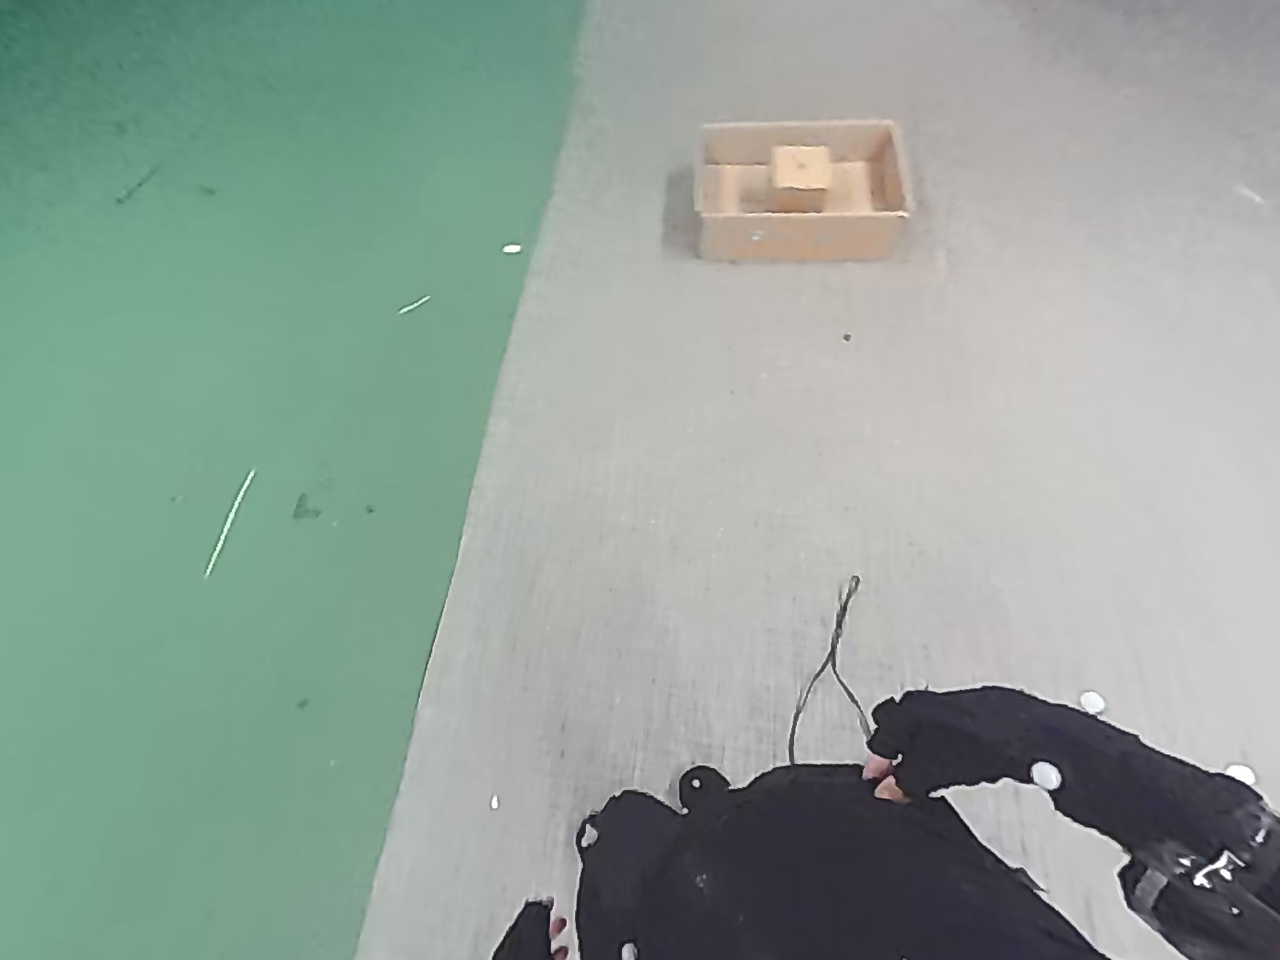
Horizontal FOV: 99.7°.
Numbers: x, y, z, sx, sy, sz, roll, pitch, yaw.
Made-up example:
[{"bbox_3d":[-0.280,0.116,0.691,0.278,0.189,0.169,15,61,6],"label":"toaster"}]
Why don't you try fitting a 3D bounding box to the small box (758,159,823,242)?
[{"bbox_3d":[0.467,-0.872,1.694,0.168,0.176,0.179,3,65,3],"label":"small box"}]
